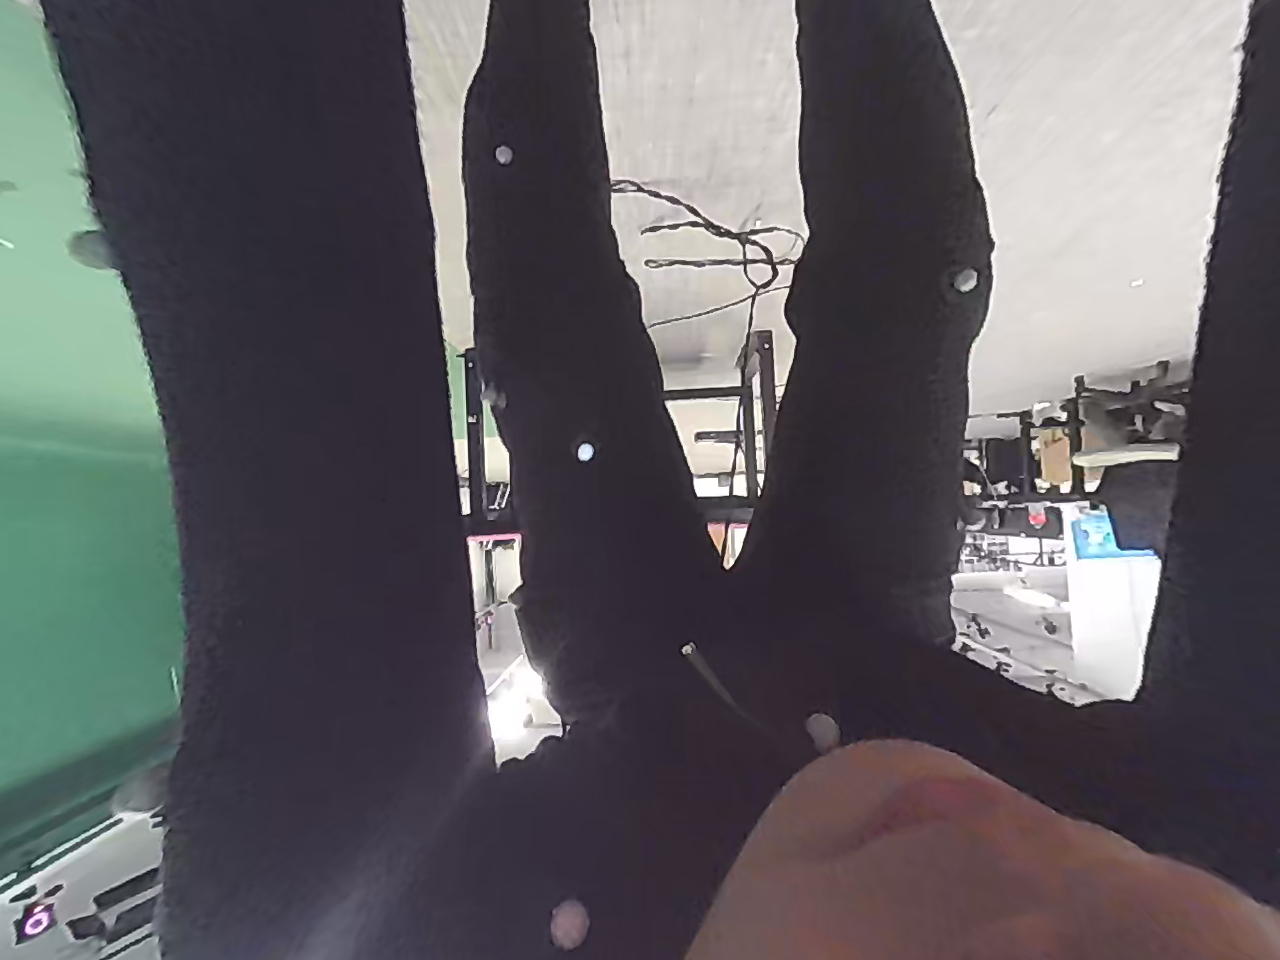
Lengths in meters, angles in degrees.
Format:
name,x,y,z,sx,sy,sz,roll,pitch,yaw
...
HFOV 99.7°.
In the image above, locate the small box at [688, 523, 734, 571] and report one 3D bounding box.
name,x,y,z,sx,sy,sz,roll,pitch,yaw
small box,0.276,0.264,2.137,0.168,0.176,0.179,-3,178,6
